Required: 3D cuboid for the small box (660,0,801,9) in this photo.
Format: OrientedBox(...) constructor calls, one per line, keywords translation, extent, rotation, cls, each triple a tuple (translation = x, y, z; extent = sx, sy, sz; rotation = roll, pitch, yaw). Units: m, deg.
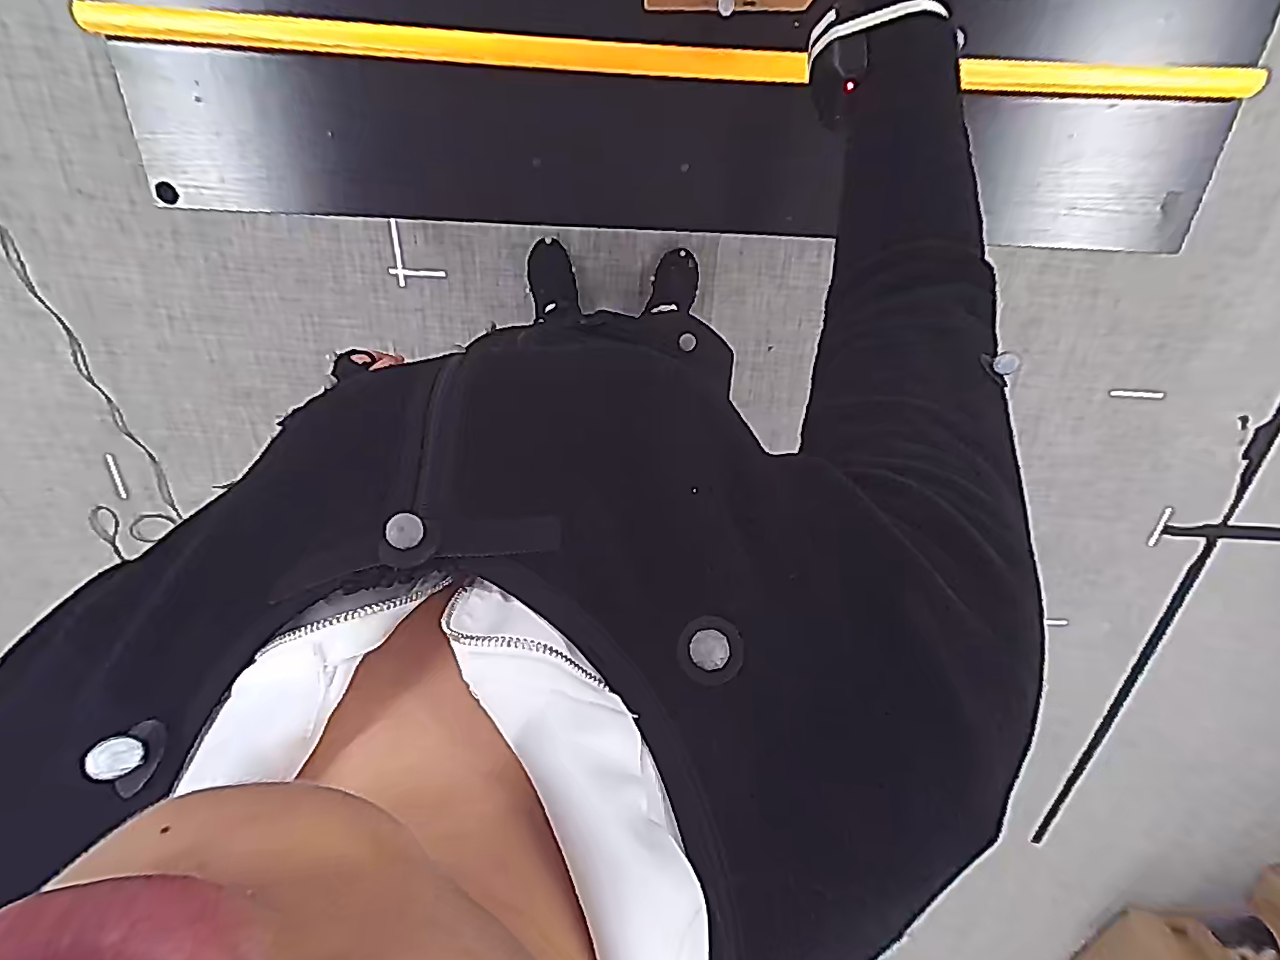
OrientedBox(translation=(0.091, -0.531, 0.445), extent=(0.168, 0.176, 0.179), rotation=(0, 116, -1), cls="small box")
